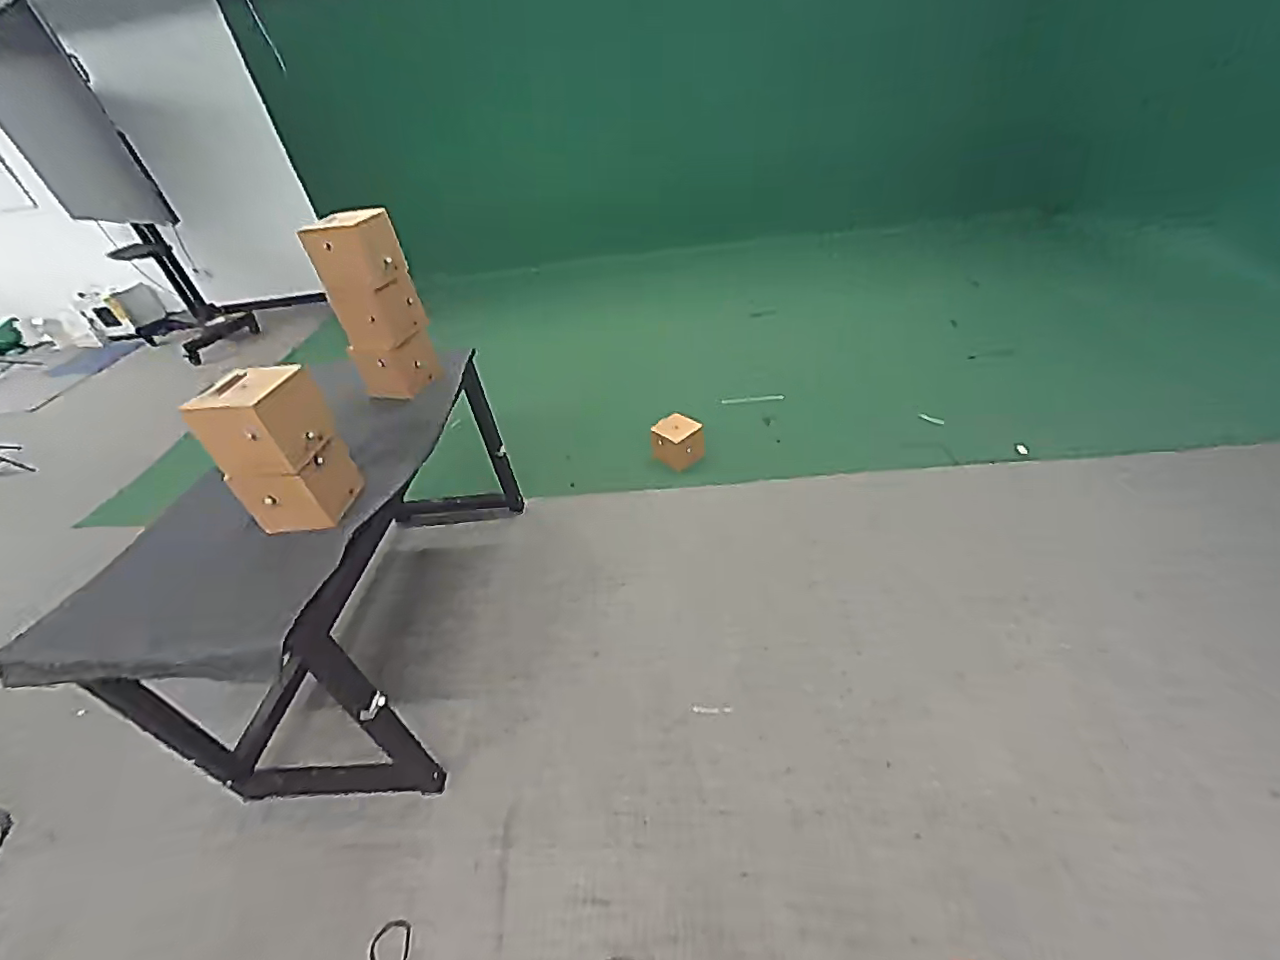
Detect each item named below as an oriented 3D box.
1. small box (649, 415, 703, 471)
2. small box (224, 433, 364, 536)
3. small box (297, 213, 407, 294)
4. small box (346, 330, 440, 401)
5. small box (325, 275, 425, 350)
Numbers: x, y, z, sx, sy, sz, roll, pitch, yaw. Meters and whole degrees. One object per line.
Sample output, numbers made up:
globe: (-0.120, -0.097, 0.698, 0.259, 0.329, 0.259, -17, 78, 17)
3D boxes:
small box: (0.167, -0.162, 2.428, 0.168, 0.176, 0.179, -34, 44, -27)
small box: (-0.784, 0.014, 1.245, 0.179, 0.176, 0.168, -6, 39, 7)
small box: (-0.794, -0.628, 1.508, 0.179, 0.176, 0.168, 0, 39, 14)
small box: (-0.762, -0.359, 1.692, 0.179, 0.176, 0.168, 7, 41, 23)
small box: (-0.776, -0.496, 1.605, 0.179, 0.176, 0.168, 3, 39, 19)
